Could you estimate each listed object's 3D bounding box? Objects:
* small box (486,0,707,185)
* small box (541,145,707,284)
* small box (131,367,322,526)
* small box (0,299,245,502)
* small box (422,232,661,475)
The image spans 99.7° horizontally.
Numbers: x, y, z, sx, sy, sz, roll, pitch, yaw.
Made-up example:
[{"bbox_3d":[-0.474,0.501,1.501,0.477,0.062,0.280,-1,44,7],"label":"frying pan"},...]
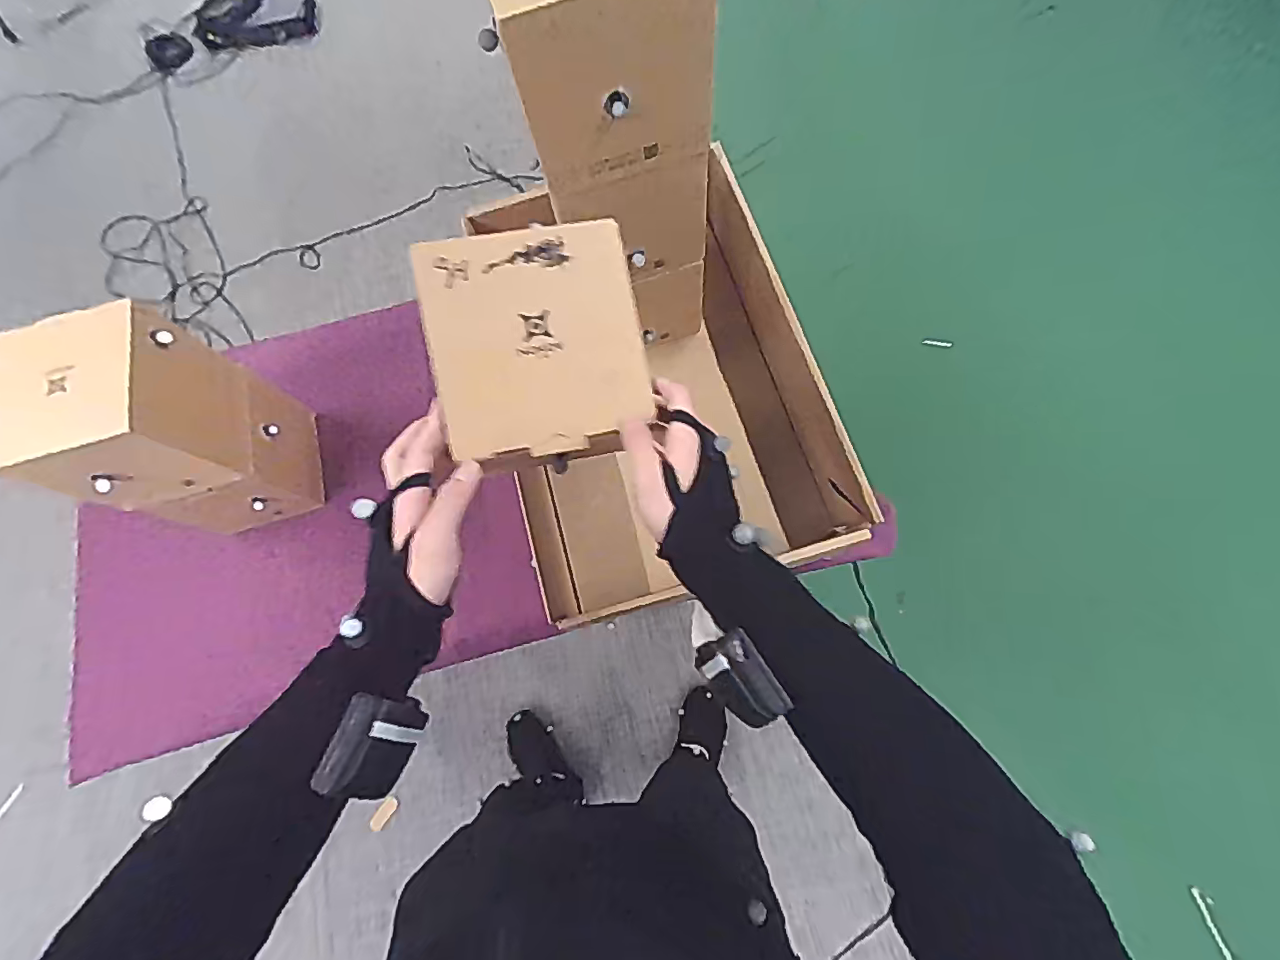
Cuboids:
[{"bbox_3d":[-0.040,-0.397,0.480,0.168,0.176,0.179,-17,73,0],"label":"small box"},{"bbox_3d":[-0.028,-0.355,0.640,0.168,0.176,0.179,-18,74,0],"label":"small box"},{"bbox_3d":[-0.612,-0.038,0.818,0.168,0.176,0.179,-15,72,-1],"label":"small box"},{"bbox_3d":[-0.623,-0.082,0.663,0.168,0.176,0.179,-16,72,-1],"label":"small box"},{"bbox_3d":[-0.087,-0.103,0.511,0.168,0.176,0.179,-12,89,-10],"label":"small box"}]
